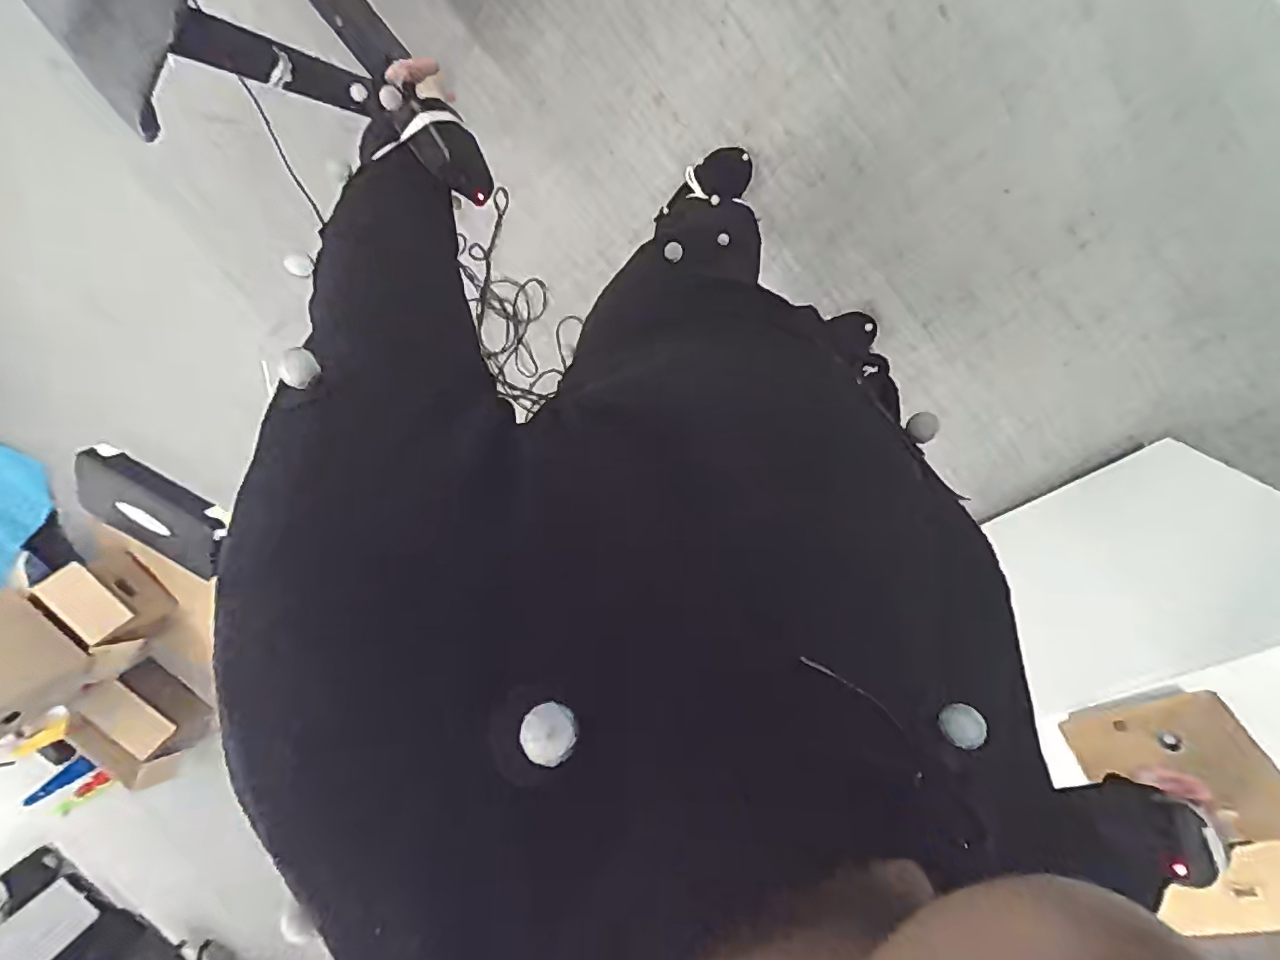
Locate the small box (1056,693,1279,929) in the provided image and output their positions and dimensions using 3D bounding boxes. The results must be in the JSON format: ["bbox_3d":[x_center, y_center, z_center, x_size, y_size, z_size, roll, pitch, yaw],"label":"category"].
[{"bbox_3d":[0.640,0.387,0.637,0.168,0.176,0.179,-29,111,25],"label":"small box"}]
